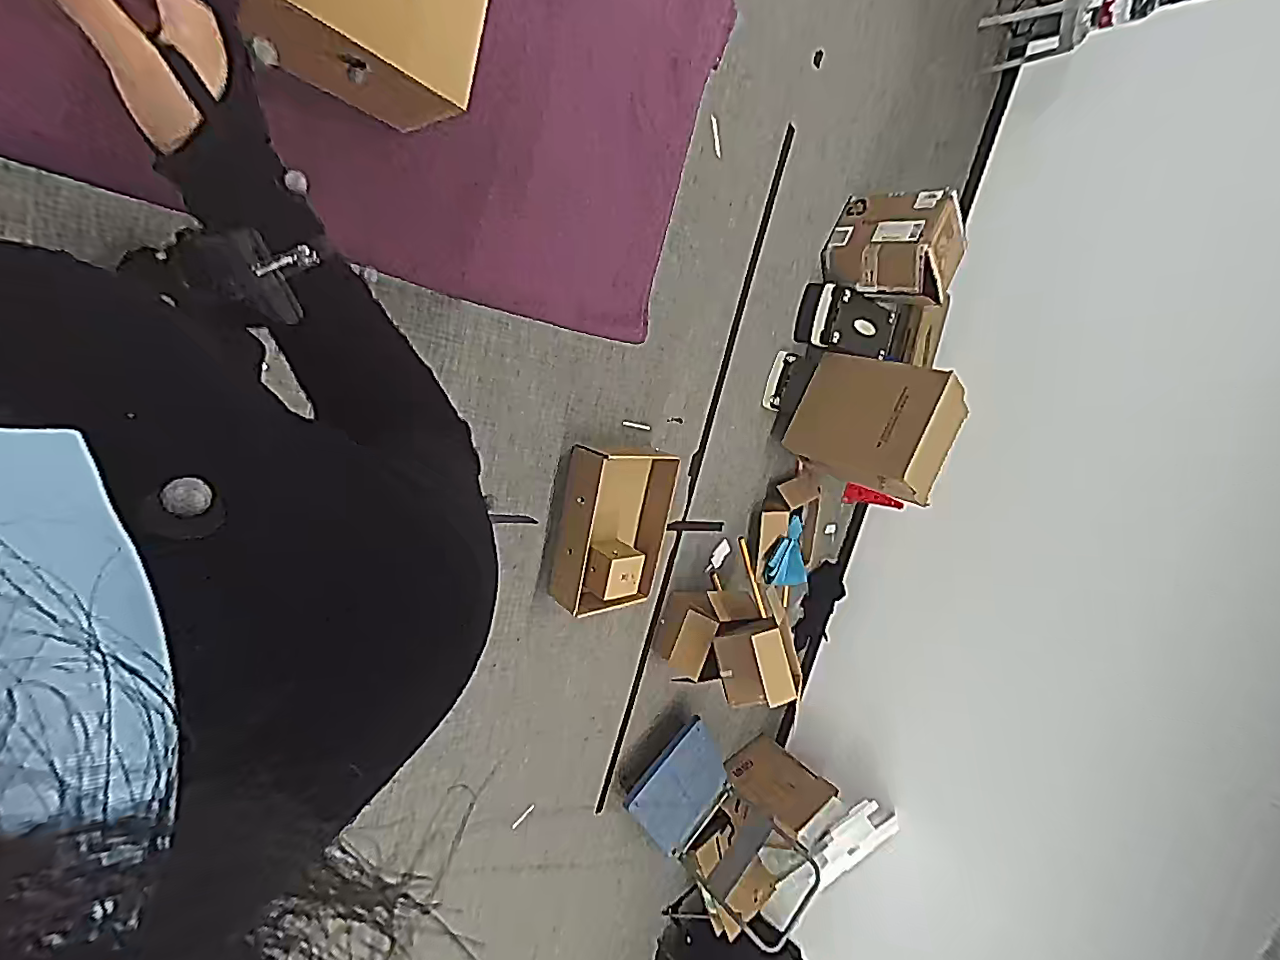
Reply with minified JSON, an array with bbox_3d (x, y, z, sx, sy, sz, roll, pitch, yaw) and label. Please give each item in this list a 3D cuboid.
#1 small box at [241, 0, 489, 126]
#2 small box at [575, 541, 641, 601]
[{"bbox_3d":[-0.276,-0.492,0.550,0.179,0.176,0.168,6,103,-46],"label":"small box"},{"bbox_3d":[-0.128,0.344,2.082,0.179,0.176,0.168,0,108,-46],"label":"small box"}]
